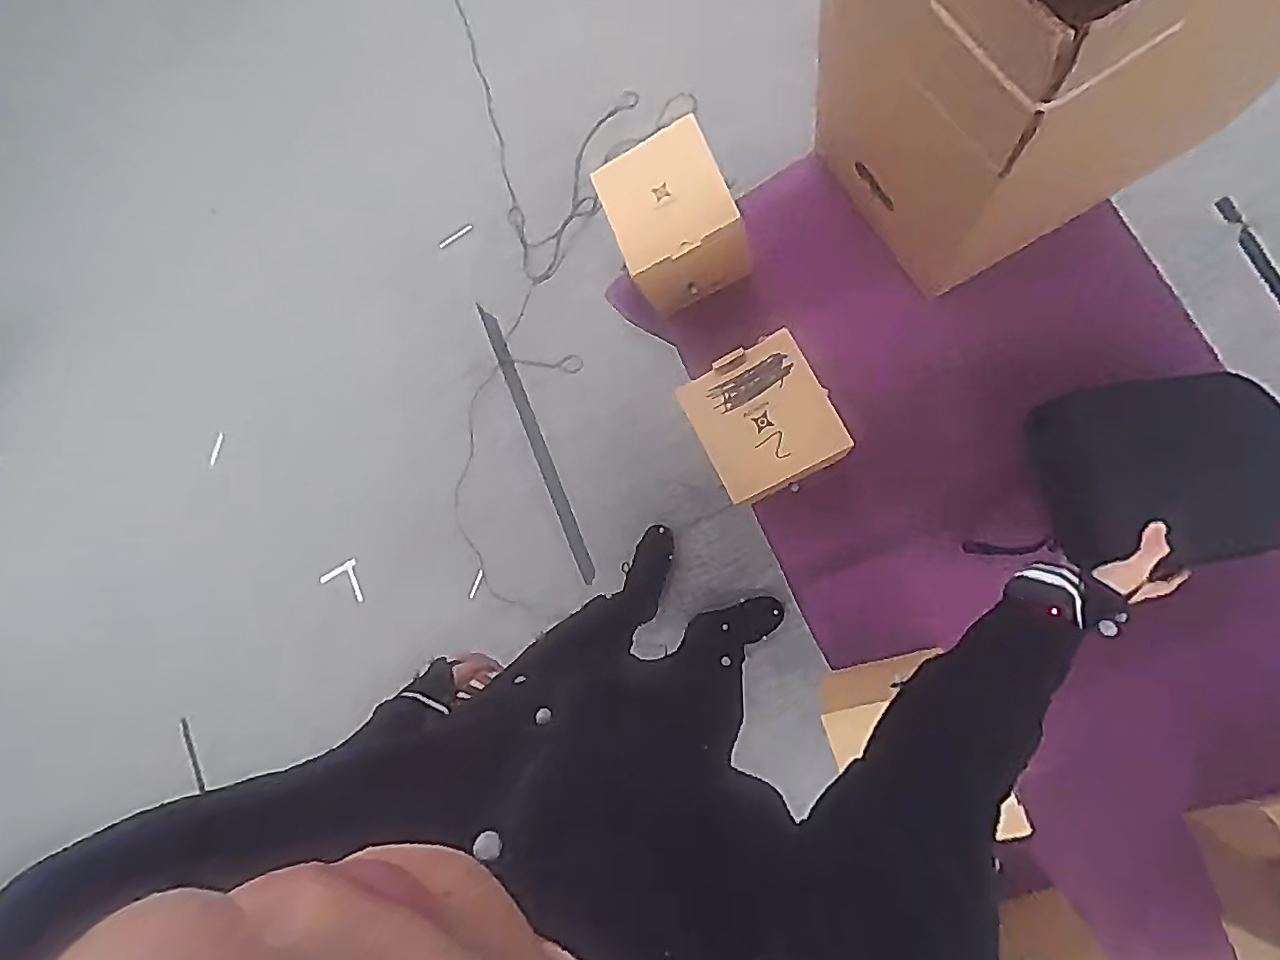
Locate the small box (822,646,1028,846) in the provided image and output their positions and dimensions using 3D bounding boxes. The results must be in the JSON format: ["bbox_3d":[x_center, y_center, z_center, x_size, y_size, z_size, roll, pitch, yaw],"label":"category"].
[{"bbox_3d":[0.345,0.327,0.694,0.179,0.176,0.168,-19,82,16],"label":"small box"}]

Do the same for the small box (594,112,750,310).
[{"bbox_3d":[0.056,-0.391,0.820,0.168,0.176,0.179,-24,82,14],"label":"small box"}]
